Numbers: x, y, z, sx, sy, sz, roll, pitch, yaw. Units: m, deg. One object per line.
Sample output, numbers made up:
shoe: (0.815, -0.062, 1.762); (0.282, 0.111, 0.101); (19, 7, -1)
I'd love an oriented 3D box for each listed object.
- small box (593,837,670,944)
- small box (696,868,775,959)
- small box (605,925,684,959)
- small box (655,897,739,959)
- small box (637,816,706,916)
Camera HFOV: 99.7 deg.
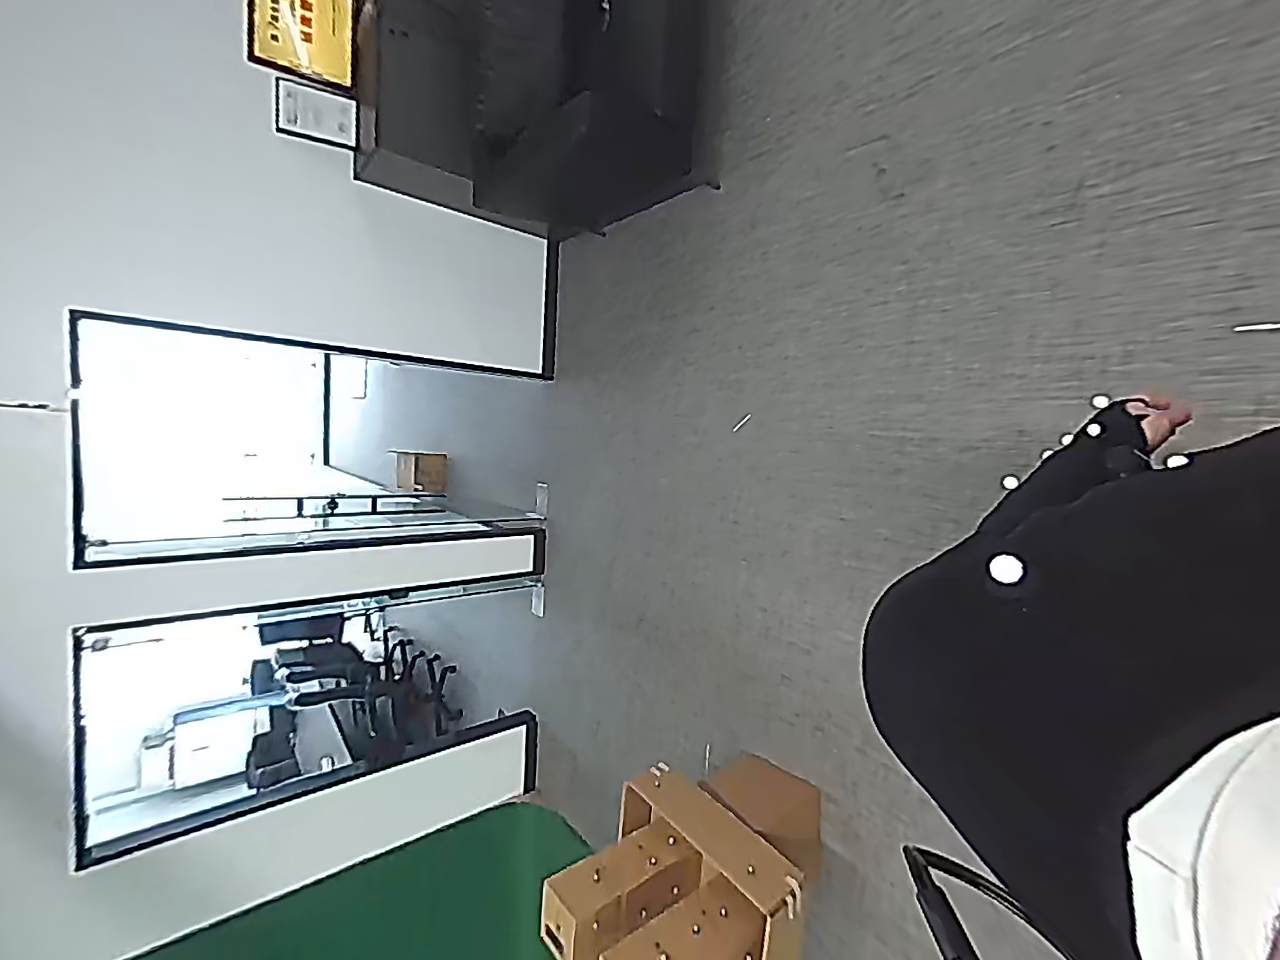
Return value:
small box: (-0.025, 1.246, 1.651); (0.168, 0.176, 0.179); (10, 99, 49)
small box: (0.269, 1.279, 1.552); (0.168, 0.176, 0.179); (15, 102, 50)
small box: (0.017, 1.279, 1.342); (0.168, 0.176, 0.179); (18, 104, 49)
small box: (0.145, 1.277, 1.444); (0.168, 0.176, 0.179); (17, 104, 50)
small box: (0.098, 1.243, 1.760); (0.168, 0.176, 0.179); (13, 100, 49)
